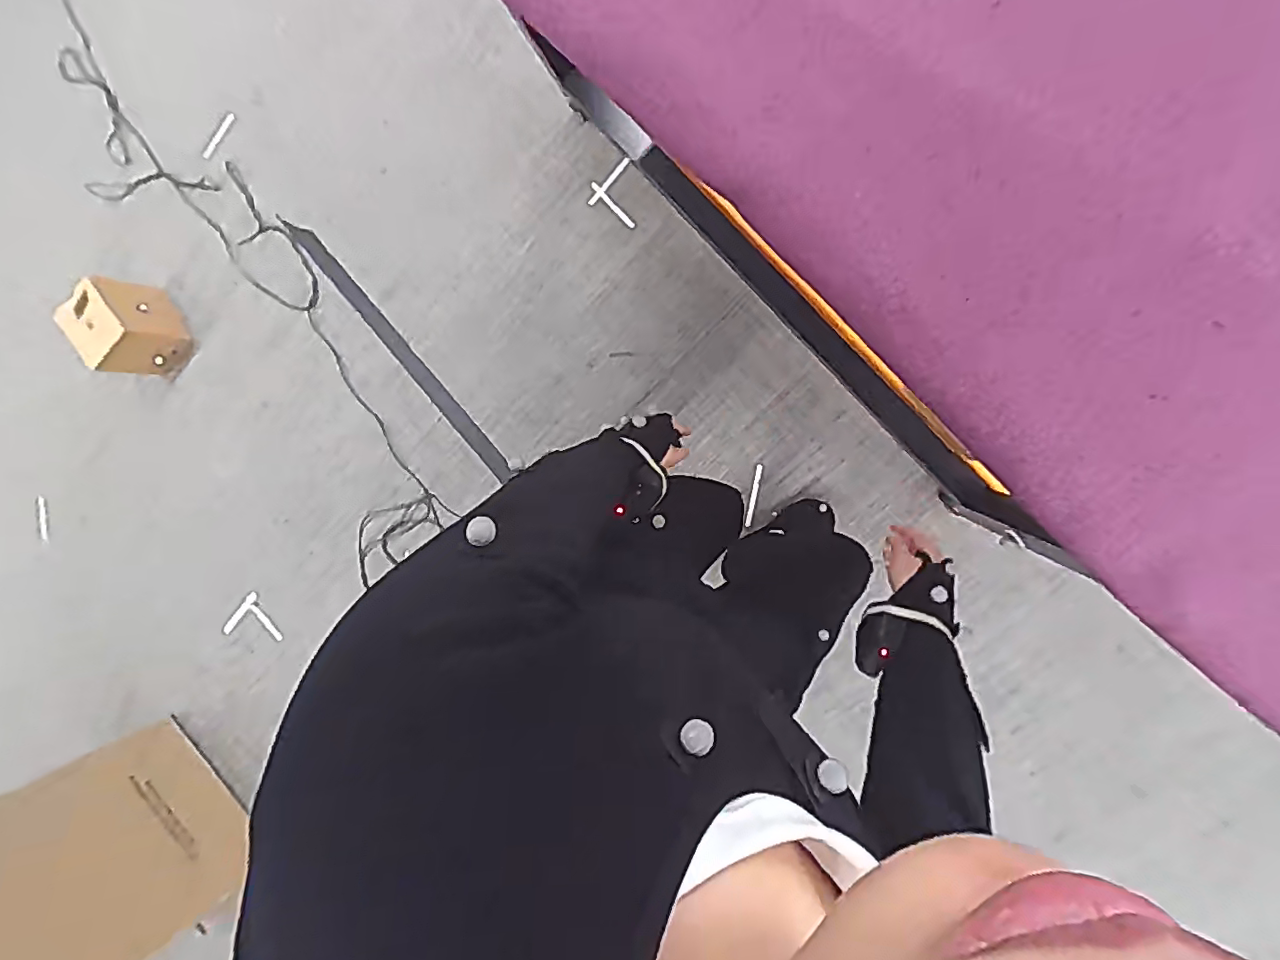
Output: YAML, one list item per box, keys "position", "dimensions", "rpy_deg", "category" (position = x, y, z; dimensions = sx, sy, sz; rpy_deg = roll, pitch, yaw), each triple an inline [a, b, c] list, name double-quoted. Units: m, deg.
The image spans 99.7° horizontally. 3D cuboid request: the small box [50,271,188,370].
- position: [-1.348, -0.404, 1.408]
  dimensions: [0.168, 0.176, 0.179]
  rpy_deg: [-35, 89, 15]
  category: "small box"
